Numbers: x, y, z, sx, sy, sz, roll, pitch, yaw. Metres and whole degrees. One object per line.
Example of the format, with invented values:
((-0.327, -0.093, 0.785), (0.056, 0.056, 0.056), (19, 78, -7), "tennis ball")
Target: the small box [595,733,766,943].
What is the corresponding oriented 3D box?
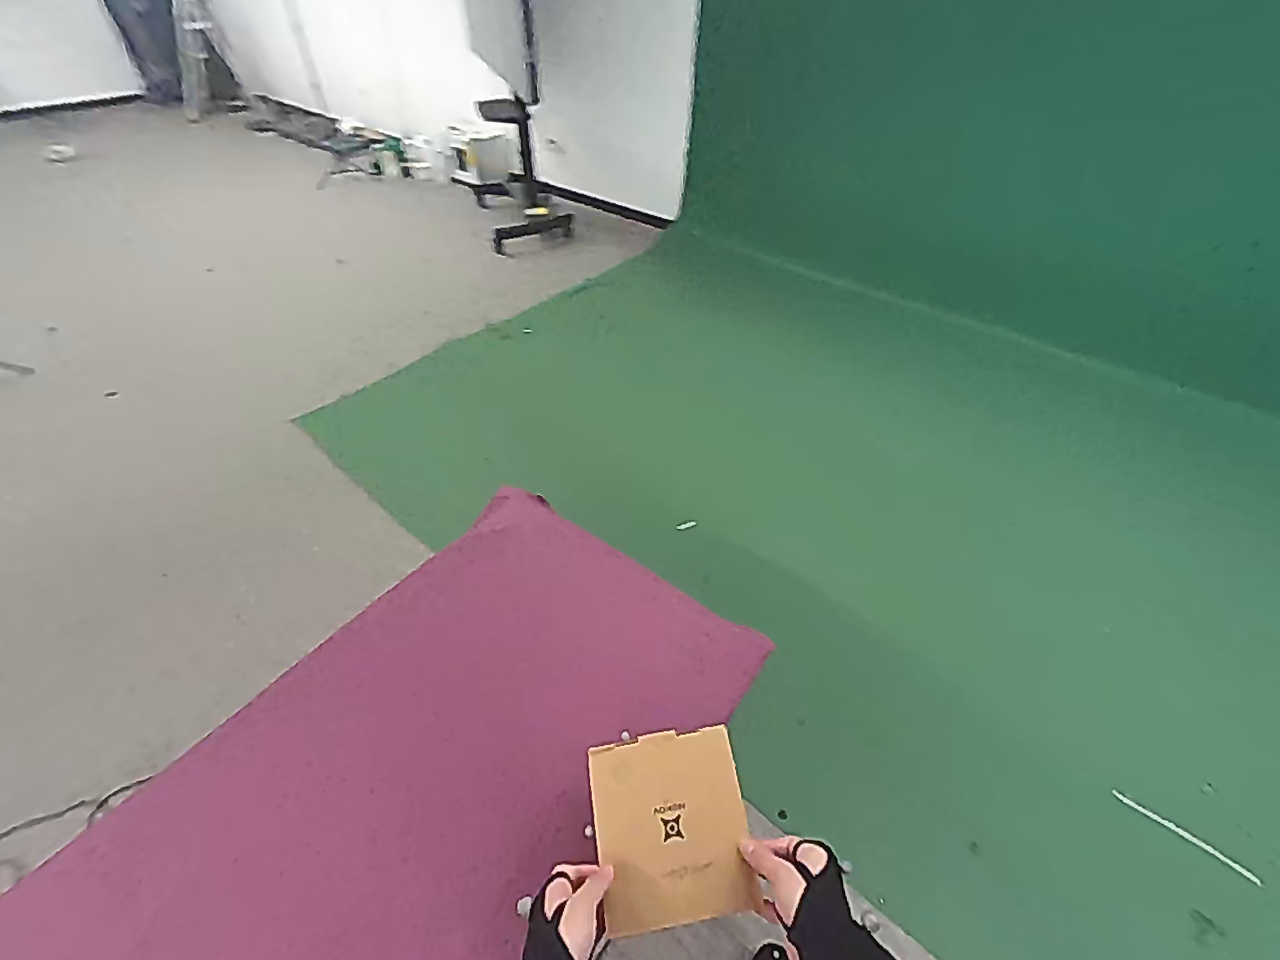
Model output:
((0.035, 0.418, 0.653), (0.168, 0.176, 0.179), (-6, 61, -5), "small box")
